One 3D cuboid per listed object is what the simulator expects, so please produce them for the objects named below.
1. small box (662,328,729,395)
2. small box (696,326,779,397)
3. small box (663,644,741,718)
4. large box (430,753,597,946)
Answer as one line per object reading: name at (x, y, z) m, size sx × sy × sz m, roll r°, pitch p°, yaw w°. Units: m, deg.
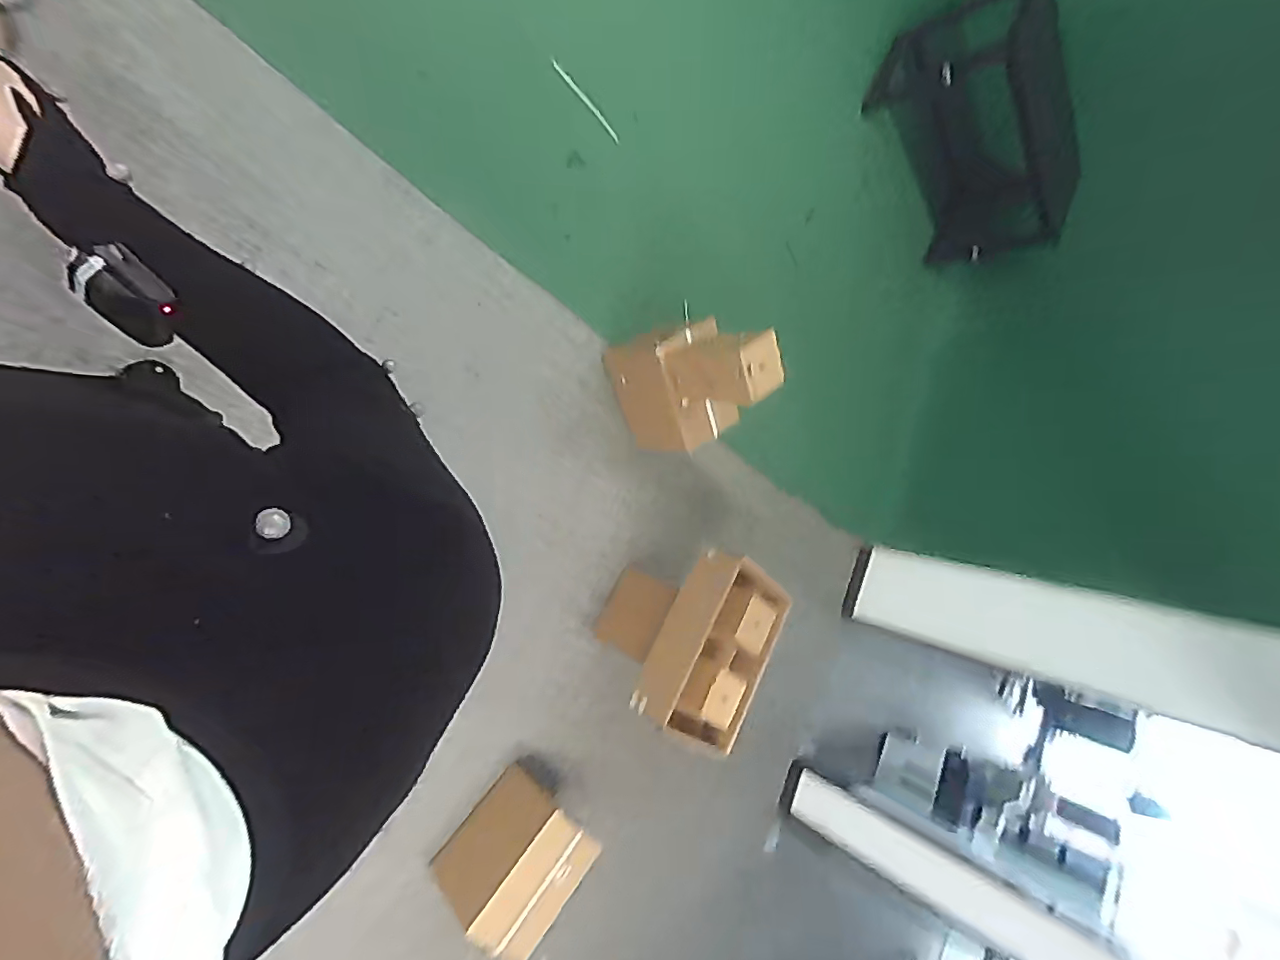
small box at (0.204, -0.399, 1.818) m, size 0.179 × 0.176 × 0.168 m, roll -36°, pitch 119°, yaw -30°
small box at (0.304, -0.371, 1.690) m, size 0.179 × 0.176 × 0.168 m, roll -37°, pitch 120°, yaw -31°
small box at (0.214, 0.693, 1.876) m, size 0.179 × 0.176 × 0.168 m, roll 41°, pitch 70°, yaw -36°
large box at (-0.434, 1.259, 1.872) m, size 0.408 × 0.320 × 0.320 m, roll -48°, pitch 126°, yaw -26°
